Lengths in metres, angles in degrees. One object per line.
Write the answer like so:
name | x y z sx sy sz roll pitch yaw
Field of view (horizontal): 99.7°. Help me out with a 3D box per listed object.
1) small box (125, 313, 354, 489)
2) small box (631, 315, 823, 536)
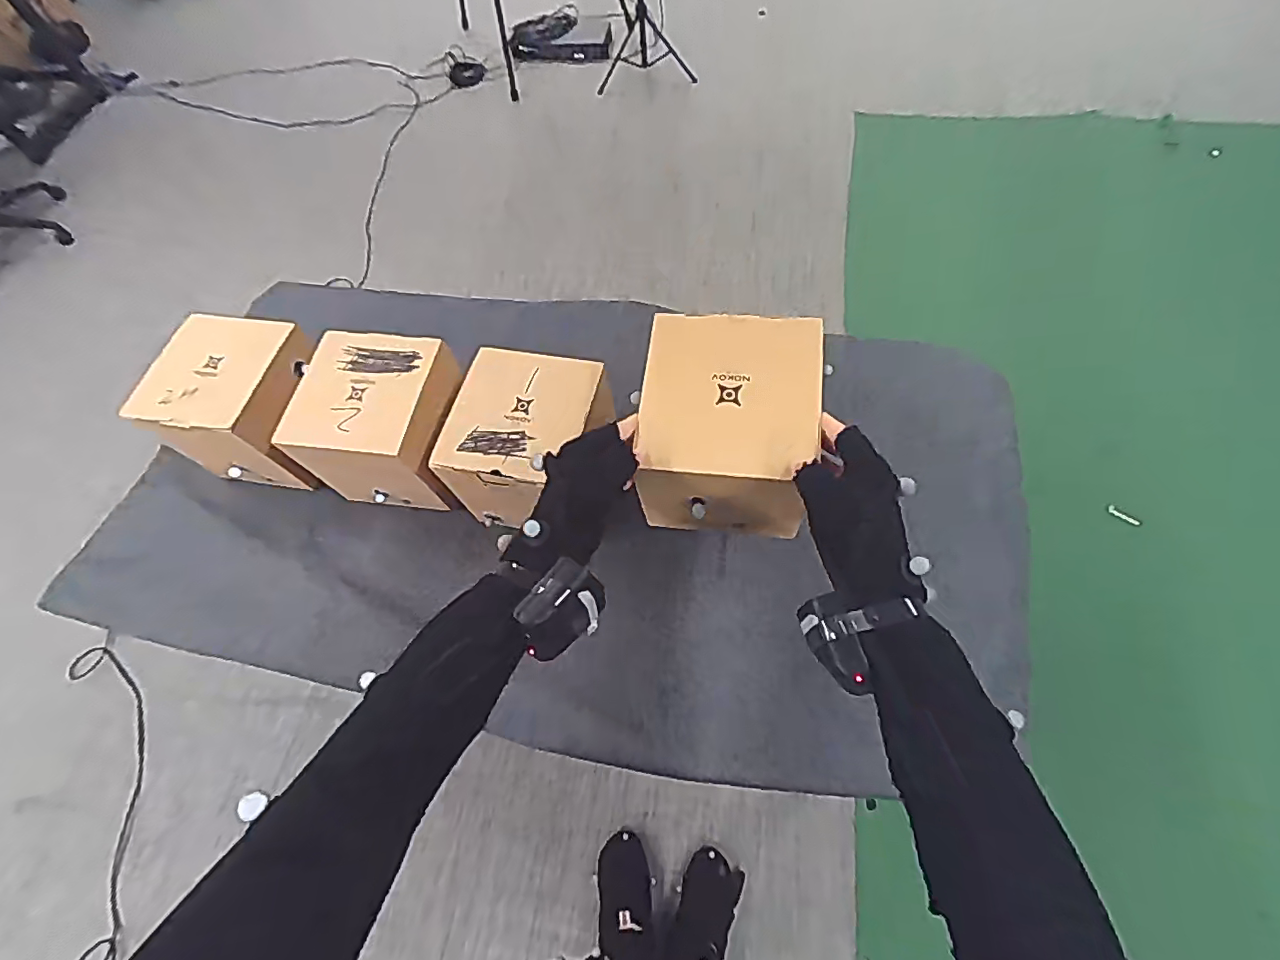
small box | -0.546 -0.109 0.773 0.168 0.176 0.179 7 64 9
small box | 0.094 -0.049 0.571 0.168 0.176 0.179 4 67 10
